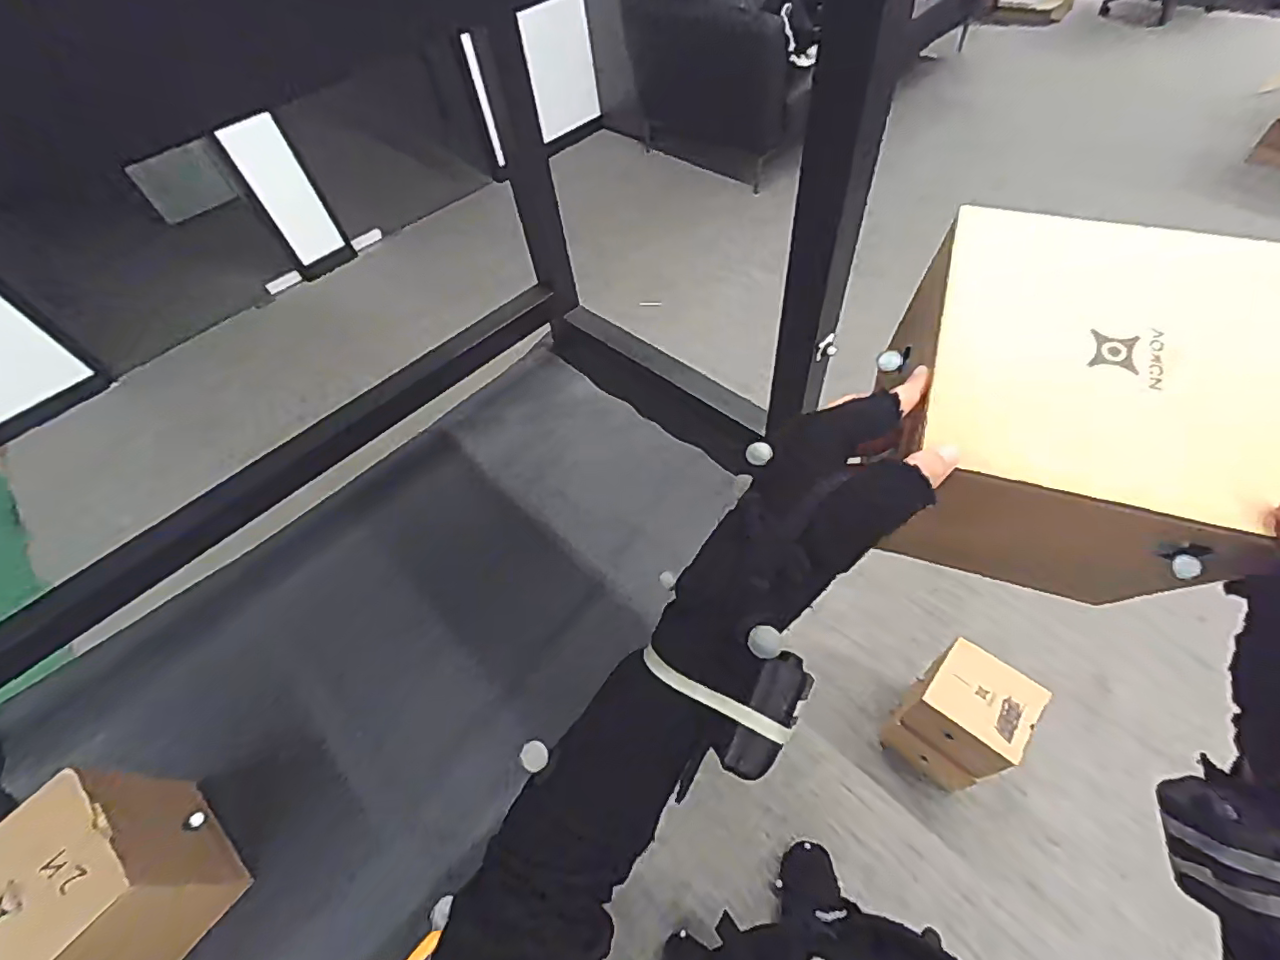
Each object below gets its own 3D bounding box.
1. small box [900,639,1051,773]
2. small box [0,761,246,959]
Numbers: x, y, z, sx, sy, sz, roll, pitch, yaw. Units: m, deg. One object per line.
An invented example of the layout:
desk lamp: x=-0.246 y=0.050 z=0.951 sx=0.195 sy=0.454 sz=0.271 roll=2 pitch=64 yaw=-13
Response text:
small box: x=0.659 y=0.457 z=1.081 sx=0.179 sy=0.176 sz=0.168 roll=34 pitch=65 yaw=28
small box: x=-0.572 y=0.434 z=0.561 sx=0.168 sy=0.176 sz=0.179 roll=31 pitch=64 yaw=25
